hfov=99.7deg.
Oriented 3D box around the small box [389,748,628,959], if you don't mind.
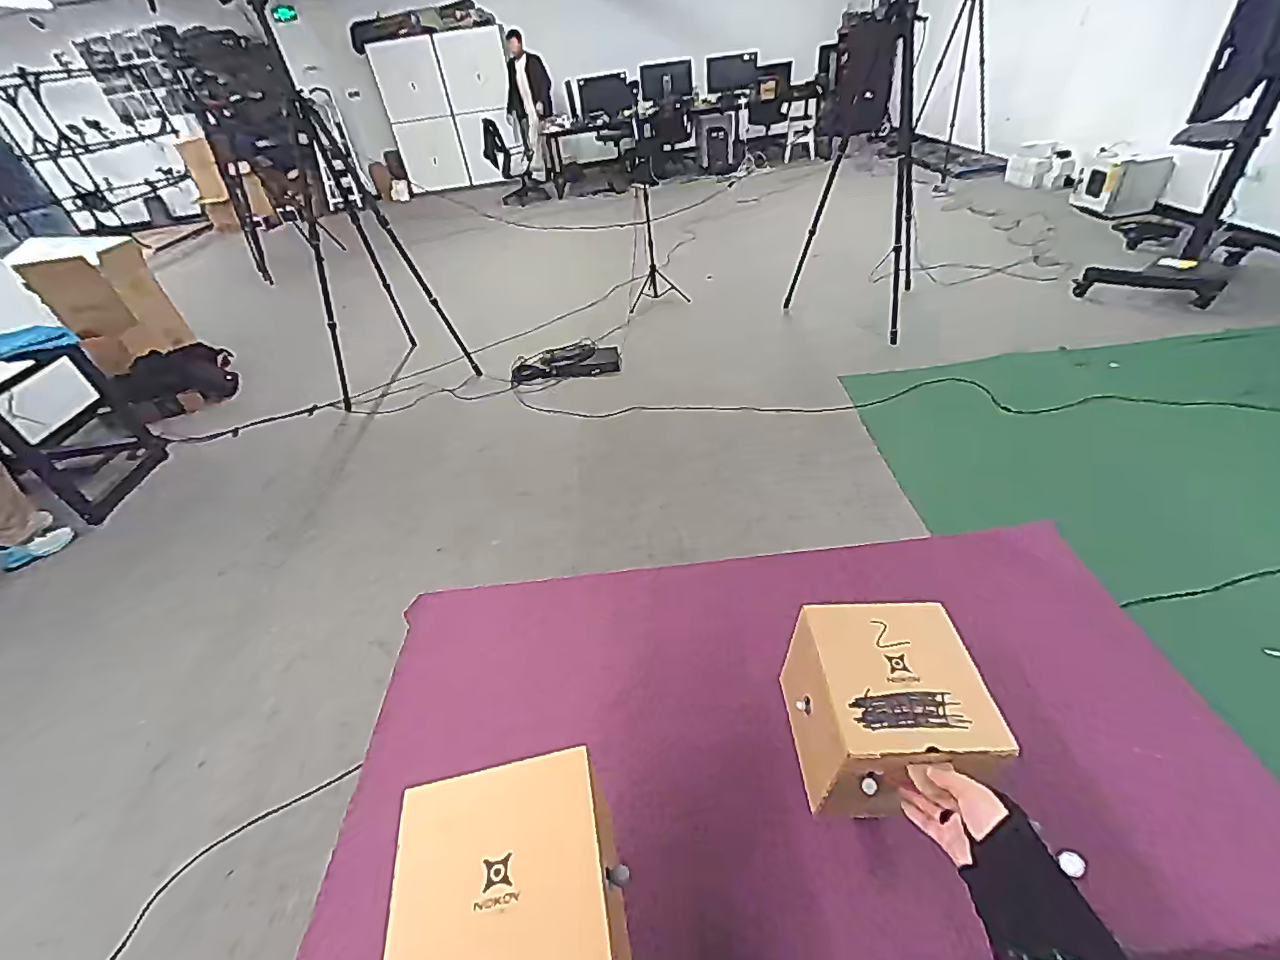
[{"bbox_3d":[-0.107,0.382,0.489,0.168,0.176,0.179,-12,41,-5],"label":"small box"}]
